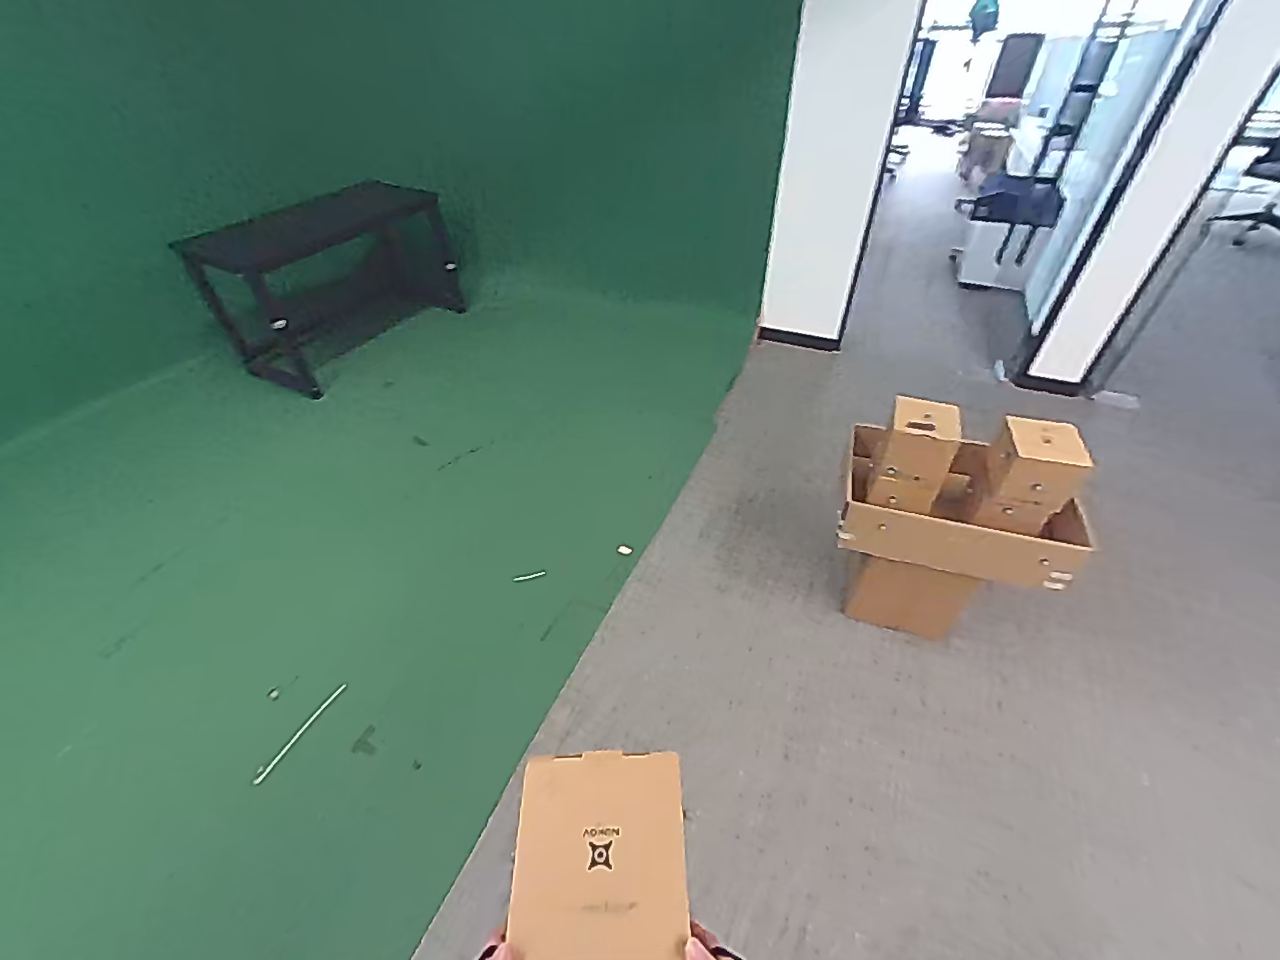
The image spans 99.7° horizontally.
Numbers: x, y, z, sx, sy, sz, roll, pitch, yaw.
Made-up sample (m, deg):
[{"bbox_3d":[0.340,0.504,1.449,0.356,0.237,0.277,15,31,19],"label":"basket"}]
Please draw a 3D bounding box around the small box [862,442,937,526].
[{"bbox_3d":[0.777,0.013,1.631,0.168,0.176,0.179,12,44,14],"label":"small box"}]

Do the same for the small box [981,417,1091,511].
[{"bbox_3d":[1.041,-0.041,1.440,0.168,0.176,0.179,11,45,11],"label":"small box"}]

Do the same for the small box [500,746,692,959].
[{"bbox_3d":[-0.036,0.400,0.568,0.168,0.176,0.179,-1,47,1],"label":"small box"}]

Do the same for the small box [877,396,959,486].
[{"bbox_3d":[0.777,-0.107,1.519,0.168,0.176,0.179,15,44,17],"label":"small box"}]
